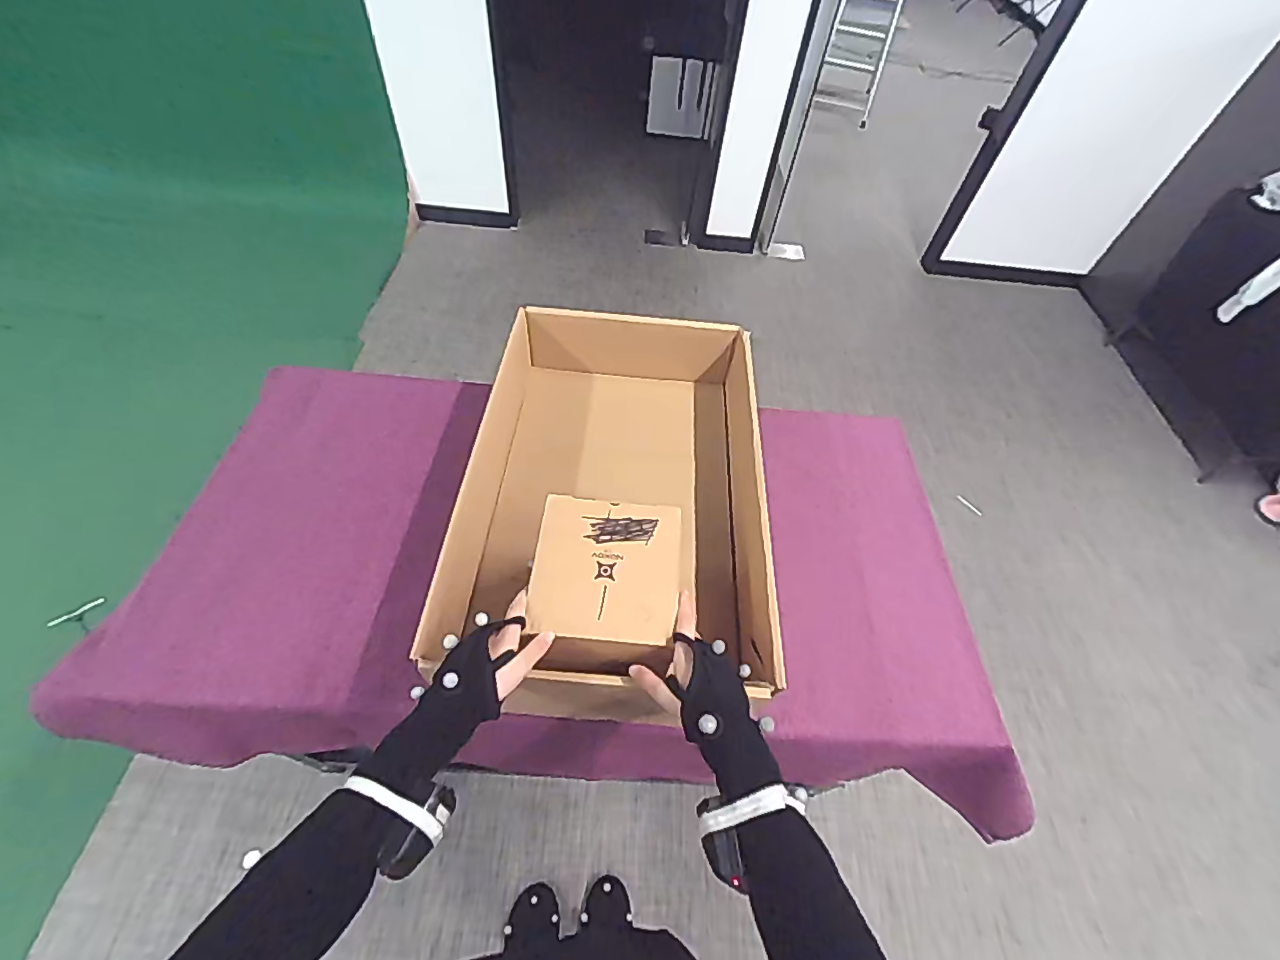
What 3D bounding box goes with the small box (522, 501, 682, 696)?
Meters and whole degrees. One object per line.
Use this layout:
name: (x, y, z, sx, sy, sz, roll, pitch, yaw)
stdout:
small box: (-0.043, 0.150, 0.672, 0.168, 0.176, 0.179, 6, 54, -1)
